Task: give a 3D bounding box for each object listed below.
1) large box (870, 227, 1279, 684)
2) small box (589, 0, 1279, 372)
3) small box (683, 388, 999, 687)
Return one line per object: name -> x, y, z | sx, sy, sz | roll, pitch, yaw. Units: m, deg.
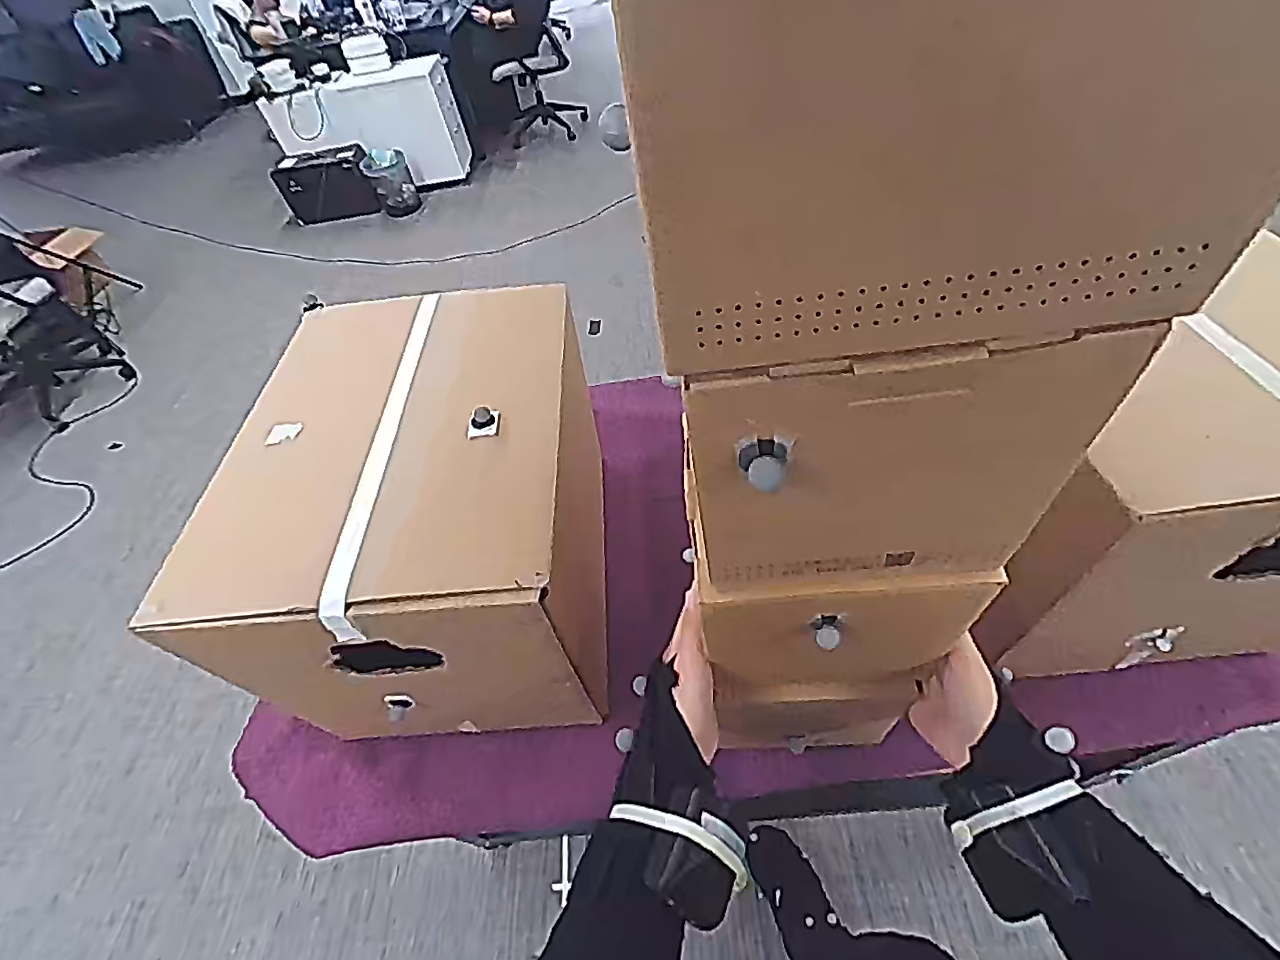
large box -> 0.481, -0.042, 0.593 | 0.320, 0.320, 0.408 | -7, 49, 3
small box -> 0.080, -0.156, 0.173 | 0.179, 0.176, 0.168 | -6, 51, 8
small box -> 0.130, 0.053, 0.423 | 0.179, 0.176, 0.168 | -6, 52, 8
